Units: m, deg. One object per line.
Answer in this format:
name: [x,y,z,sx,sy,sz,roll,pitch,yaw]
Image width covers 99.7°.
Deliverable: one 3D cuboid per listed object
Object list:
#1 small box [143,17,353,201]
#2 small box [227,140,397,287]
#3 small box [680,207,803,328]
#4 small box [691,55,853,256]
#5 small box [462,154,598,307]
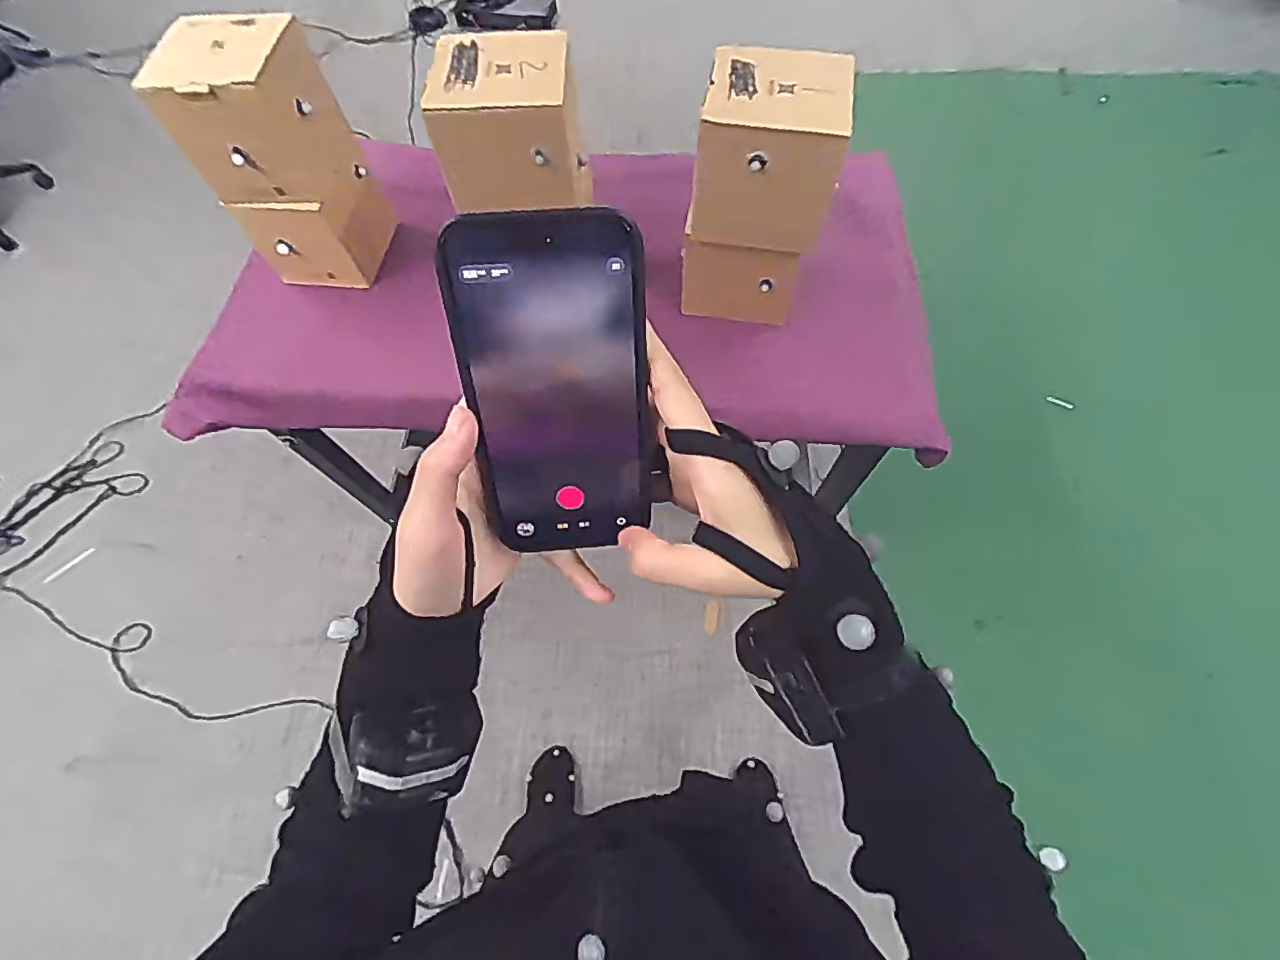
small box: [-0.560,-0.542,0.805,0.168,0.176,0.179,1,65,2]
small box: [-0.556,-0.463,0.949,0.168,0.176,0.179,5,64,4]
small box: [0.167,-0.371,0.881,0.179,0.176,0.168,10,65,8]
small box: [0.168,-0.428,0.726,0.179,0.176,0.168,10,65,6]
small box: [-0.171,-0.413,0.910,0.179,0.176,0.168,5,64,4]
